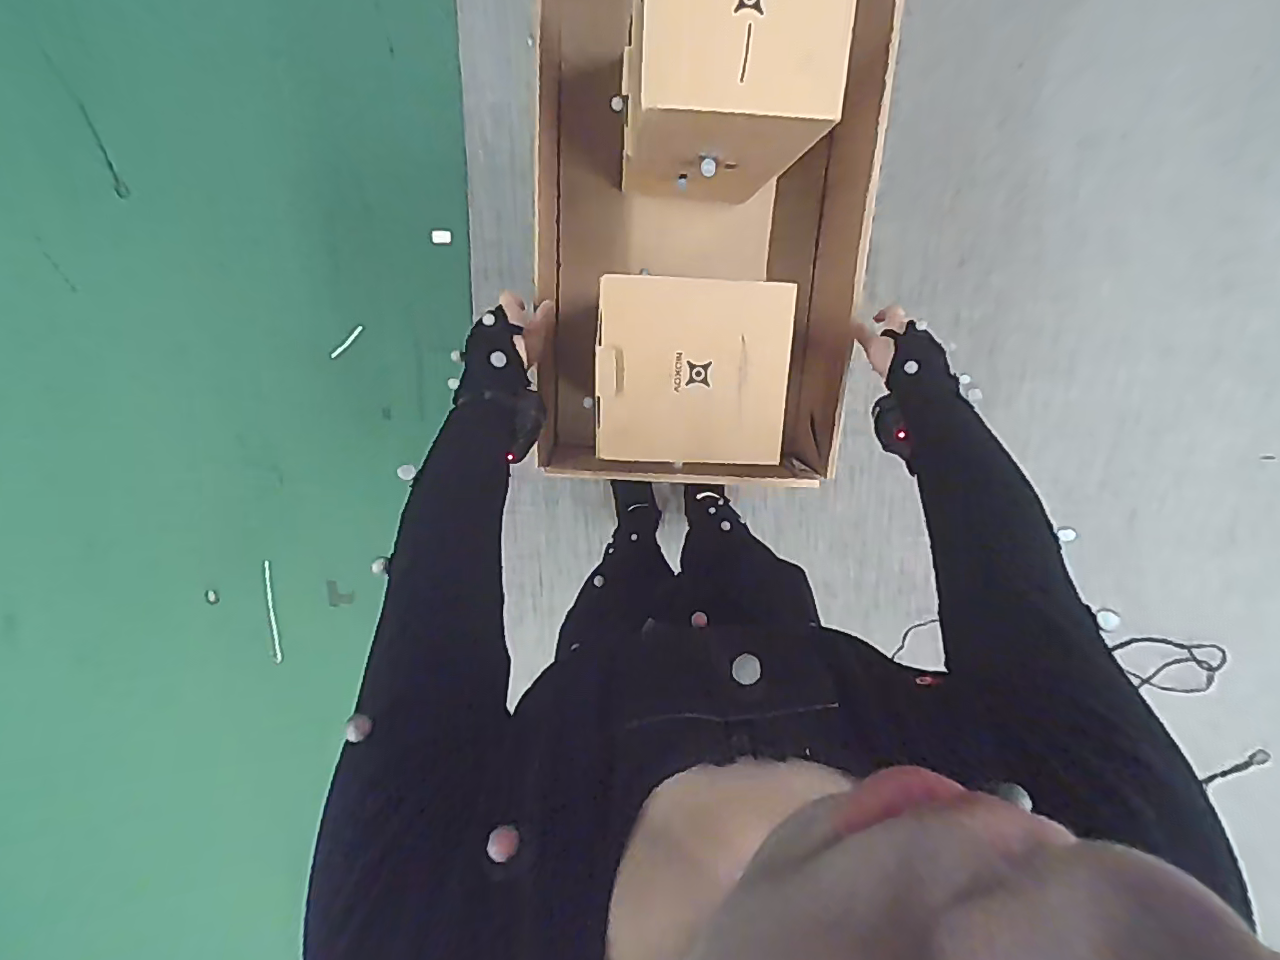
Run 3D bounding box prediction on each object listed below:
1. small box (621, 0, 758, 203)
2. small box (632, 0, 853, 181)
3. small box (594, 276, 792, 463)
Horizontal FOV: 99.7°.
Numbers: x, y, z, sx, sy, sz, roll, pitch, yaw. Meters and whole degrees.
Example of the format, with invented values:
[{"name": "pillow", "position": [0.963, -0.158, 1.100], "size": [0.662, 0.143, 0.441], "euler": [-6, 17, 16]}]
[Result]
[{"name": "small box", "position": [0.069, -0.445, 0.652], "size": [0.179, 0.176, 0.168], "euler": [3, 106, -4]}, {"name": "small box", "position": [0.080, -0.398, 0.495], "size": [0.168, 0.176, 0.179], "euler": [2, 106, -4]}, {"name": "small box", "position": [0.042, -0.117, 0.572], "size": [0.179, 0.176, 0.168], "euler": [0, 105, -4]}]
